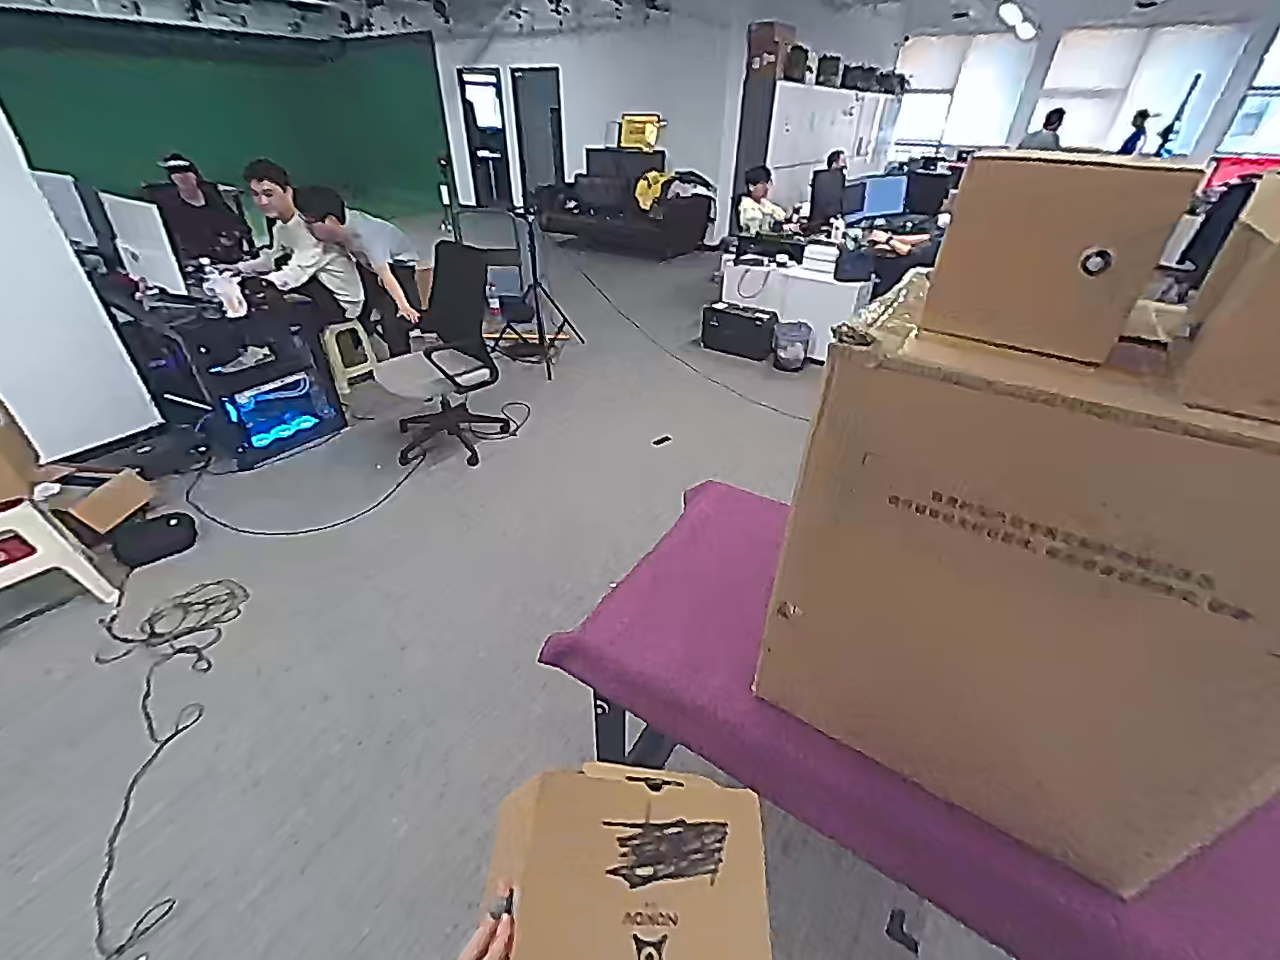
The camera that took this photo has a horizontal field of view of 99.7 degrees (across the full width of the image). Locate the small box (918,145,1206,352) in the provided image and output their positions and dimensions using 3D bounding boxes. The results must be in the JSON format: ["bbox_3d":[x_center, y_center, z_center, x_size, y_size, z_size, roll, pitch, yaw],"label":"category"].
[{"bbox_3d":[0.423,-0.246,0.568,0.179,0.176,0.168,21,38,27],"label":"small box"}]

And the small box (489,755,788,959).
[{"bbox_3d":[-0.012,0.320,0.389,0.168,0.176,0.179,14,49,-15],"label":"small box"}]

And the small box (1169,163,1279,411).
[{"bbox_3d":[0.574,-0.149,0.431,0.168,0.176,0.179,22,39,28],"label":"small box"}]
